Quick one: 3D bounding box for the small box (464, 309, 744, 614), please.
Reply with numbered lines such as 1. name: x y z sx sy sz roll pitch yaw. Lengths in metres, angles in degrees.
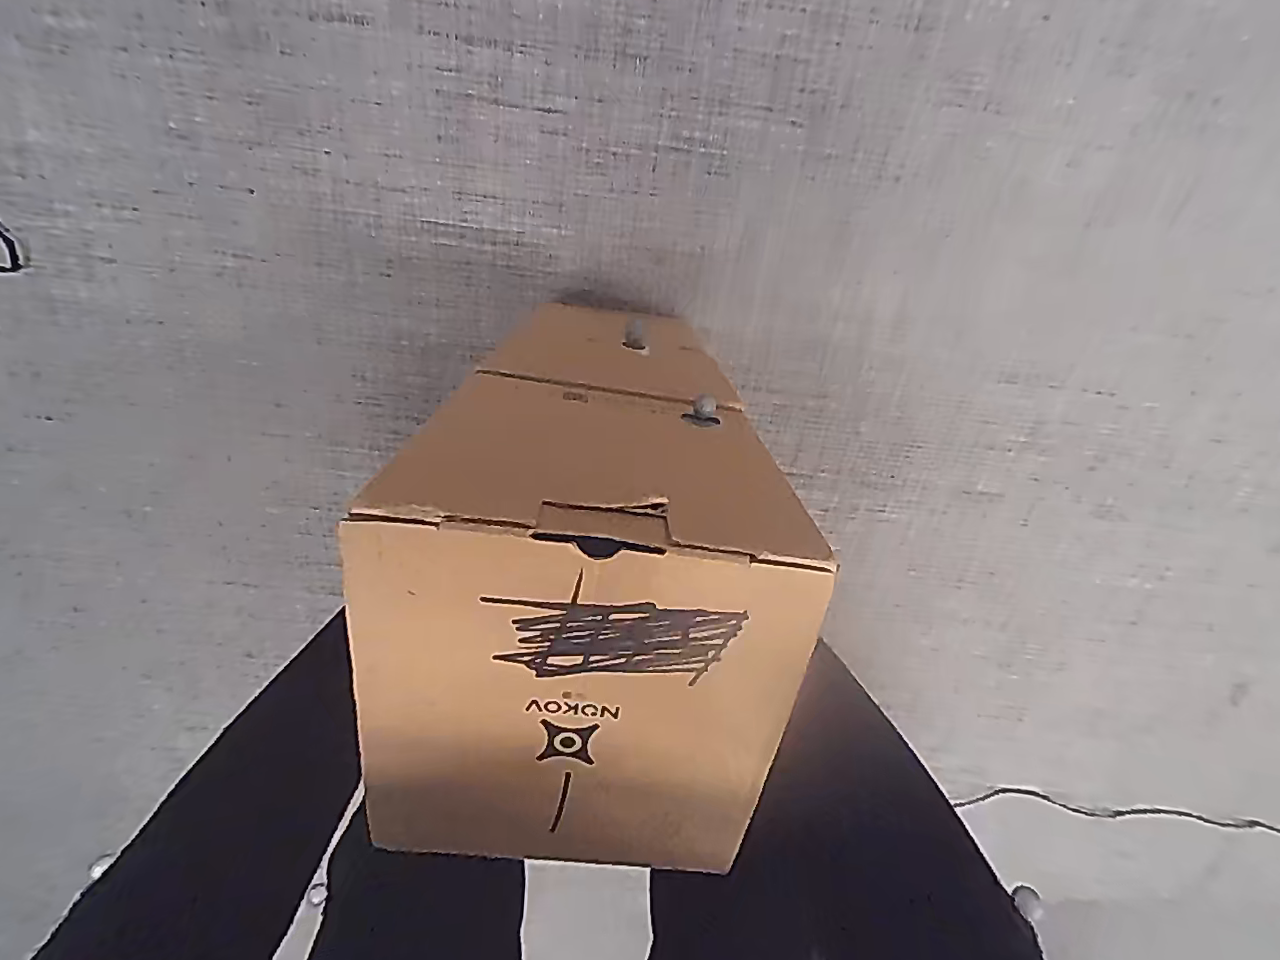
1. small box: -0.030 -0.024 0.420 0.168 0.176 0.179 7 113 -4
